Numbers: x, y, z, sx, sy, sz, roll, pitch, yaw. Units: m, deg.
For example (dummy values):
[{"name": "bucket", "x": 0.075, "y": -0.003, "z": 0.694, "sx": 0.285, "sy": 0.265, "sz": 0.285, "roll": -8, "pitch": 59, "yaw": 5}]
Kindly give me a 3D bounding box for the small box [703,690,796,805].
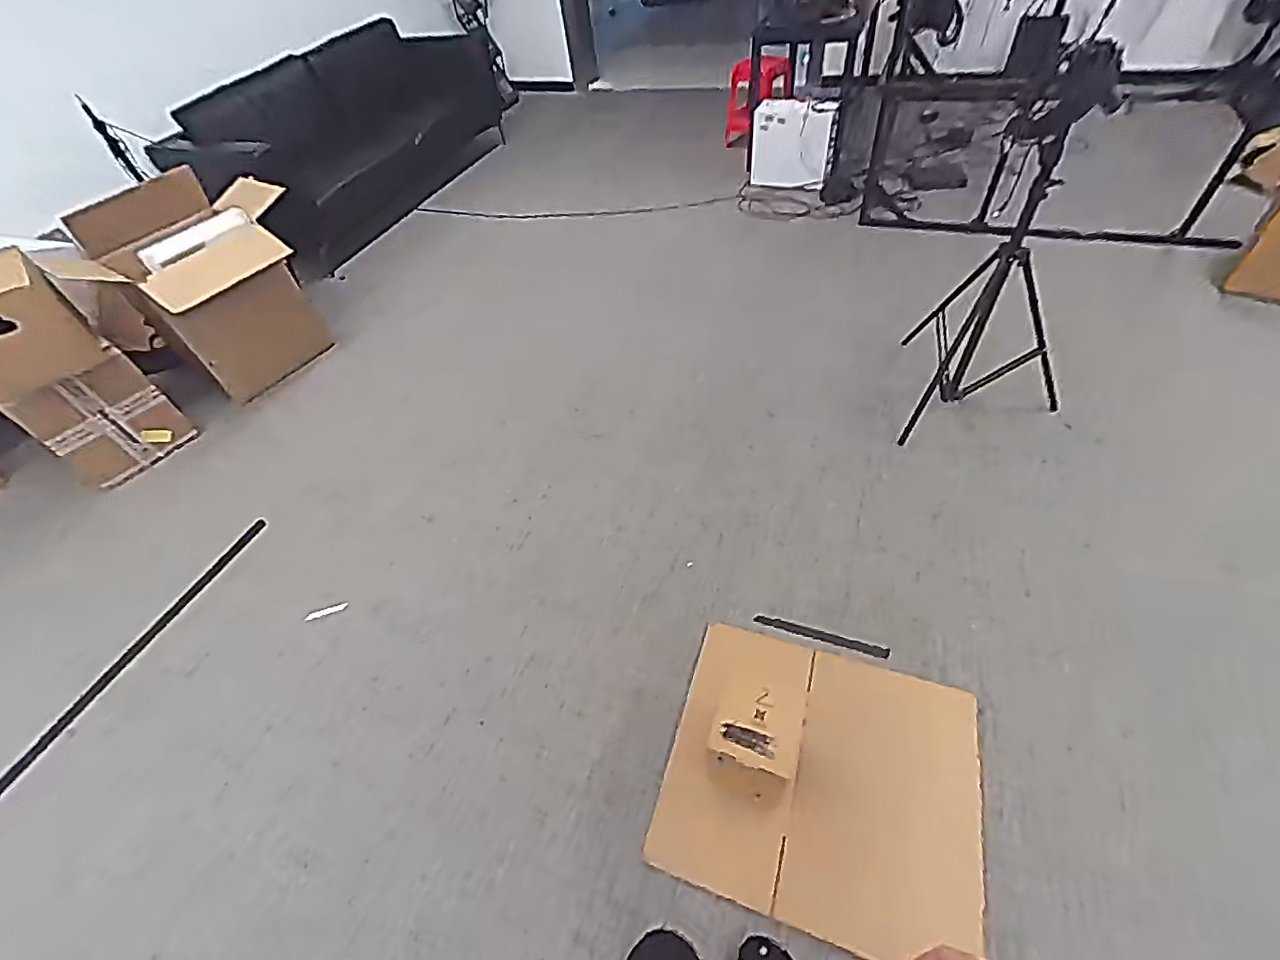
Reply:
[{"name": "small box", "x": 0.255, "y": 0.630, "z": 1.266, "sx": 0.168, "sy": 0.176, "sz": 0.179, "roll": 16, "pitch": 53, "yaw": 18}]
